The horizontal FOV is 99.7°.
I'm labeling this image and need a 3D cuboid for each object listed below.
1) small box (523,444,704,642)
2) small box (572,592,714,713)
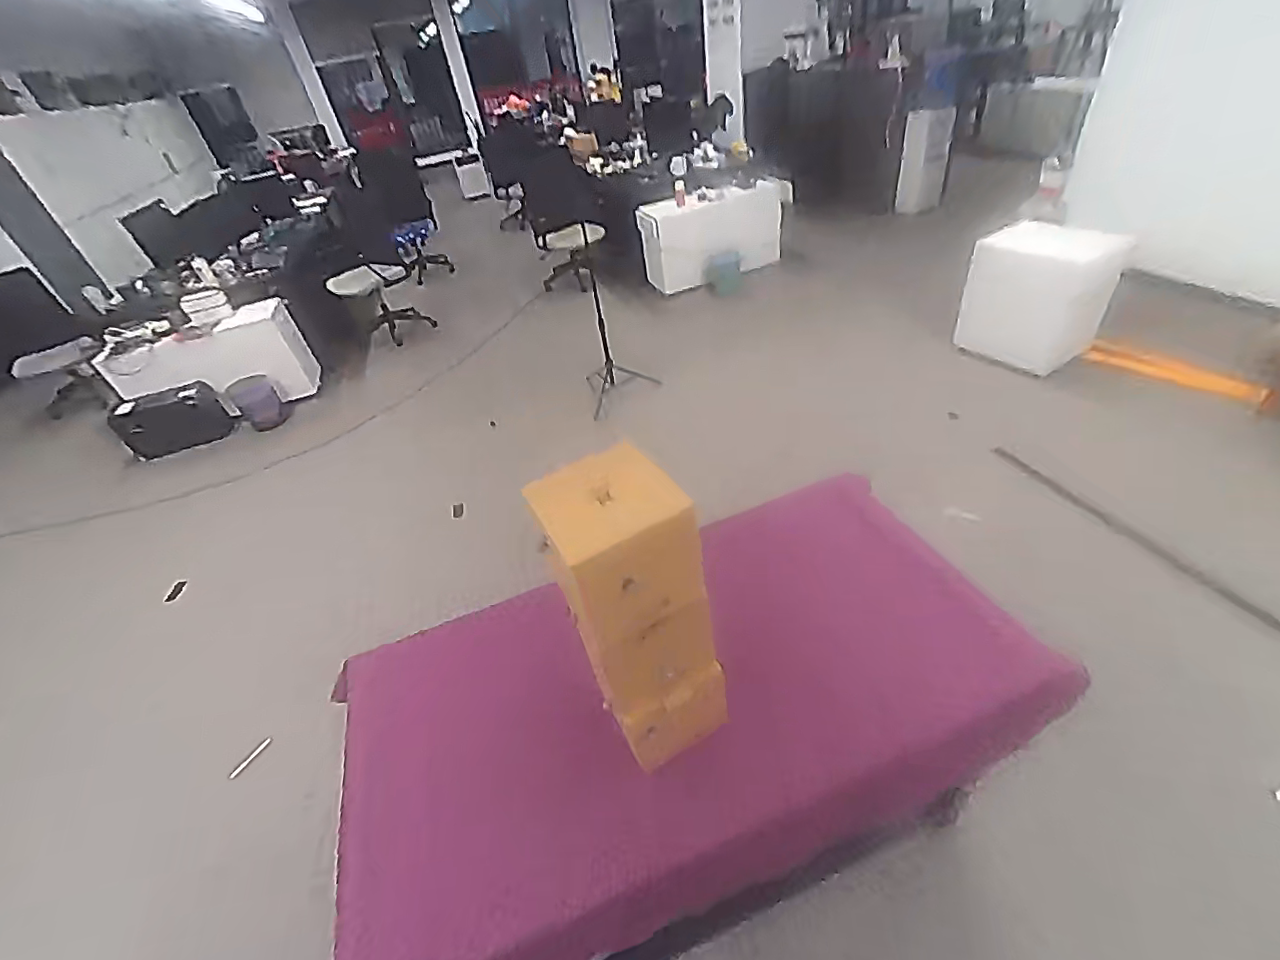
[{"bbox_3d":[-0.030,0.086,0.714,0.168,0.176,0.179,-26,39,-17],"label":"small box"},{"bbox_3d":[-0.003,0.209,0.818,0.168,0.176,0.179,-24,40,-15],"label":"small box"}]
